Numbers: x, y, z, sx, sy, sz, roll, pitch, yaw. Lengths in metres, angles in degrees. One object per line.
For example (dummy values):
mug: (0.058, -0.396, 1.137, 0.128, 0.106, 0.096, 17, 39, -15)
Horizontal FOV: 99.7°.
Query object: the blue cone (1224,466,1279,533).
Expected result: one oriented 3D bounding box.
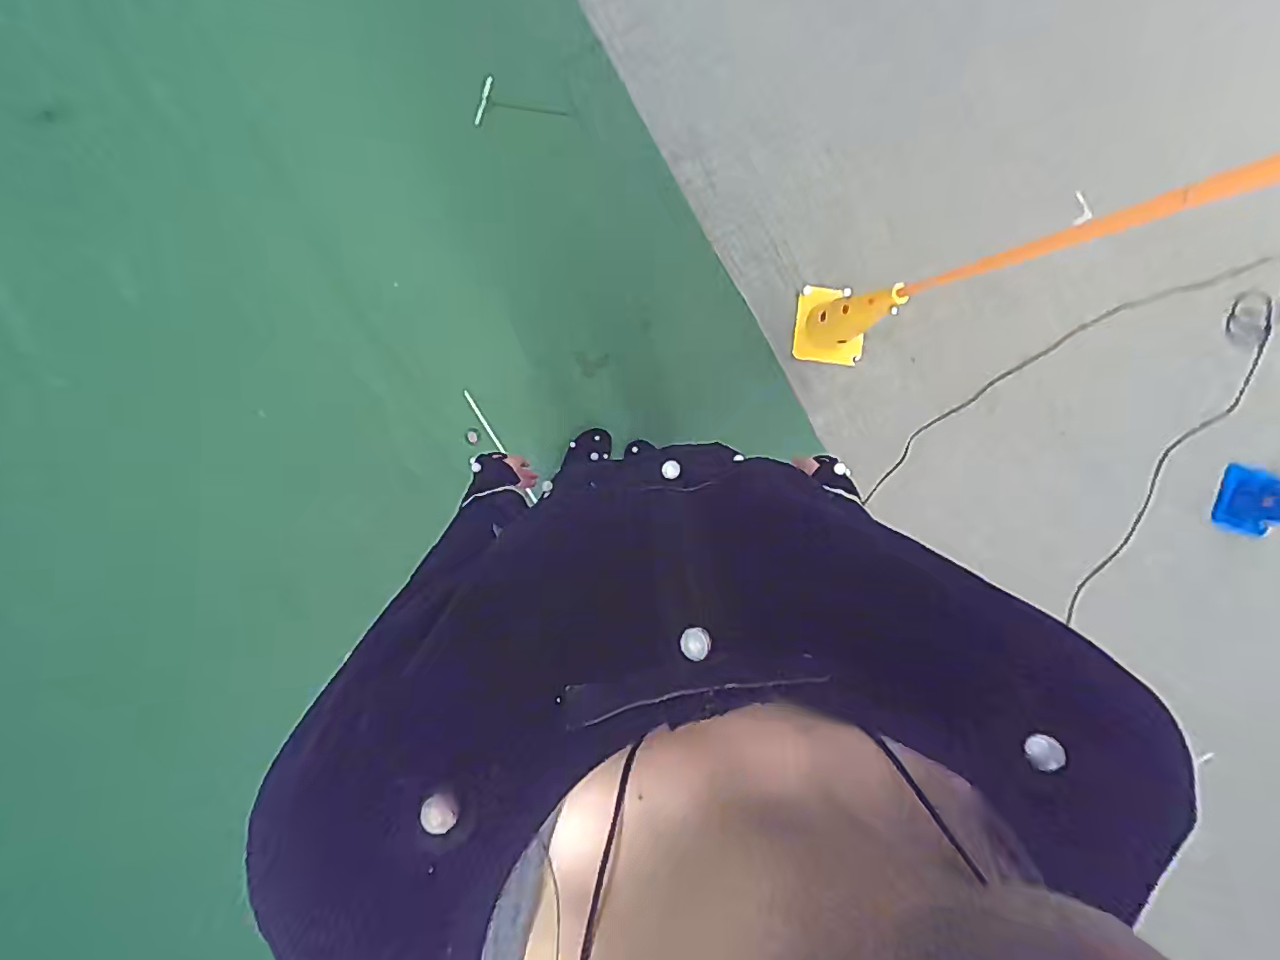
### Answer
blue cone: (1.897, 0.070, 1.482, 0.193, 0.380, 0.192, 13, 93, -8)
